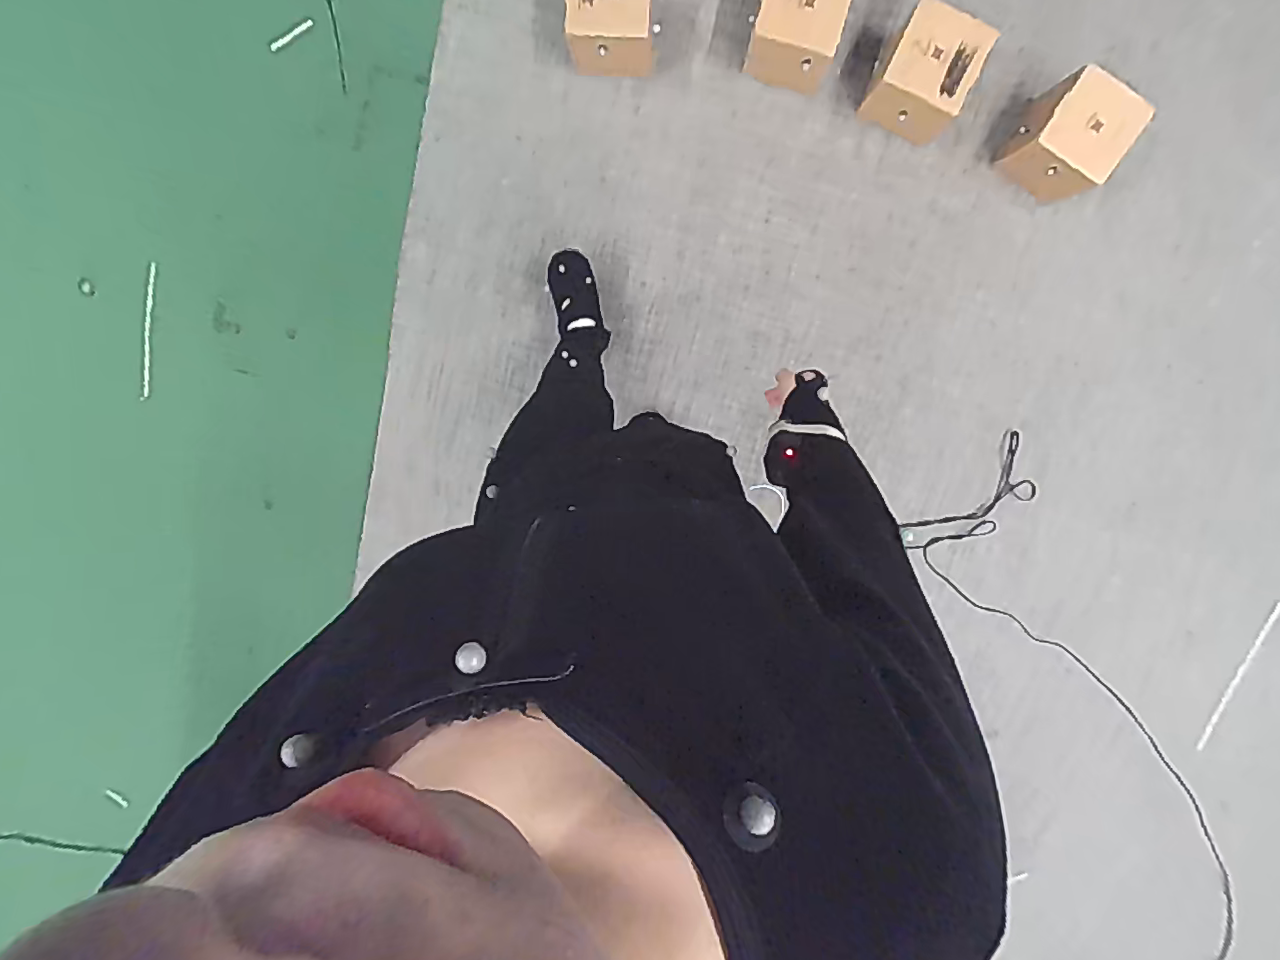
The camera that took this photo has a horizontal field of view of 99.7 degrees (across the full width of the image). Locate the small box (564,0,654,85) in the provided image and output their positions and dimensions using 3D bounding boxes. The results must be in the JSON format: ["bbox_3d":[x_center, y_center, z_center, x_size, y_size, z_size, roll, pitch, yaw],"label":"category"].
[{"bbox_3d":[-0.062,-0.996,1.181,0.179,0.176,0.168,4,103,1],"label":"small box"}]

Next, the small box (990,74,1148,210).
[{"bbox_3d":[0.930,-0.729,1.193,0.179,0.176,0.168,31,103,-5],"label":"small box"}]

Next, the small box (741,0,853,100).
[{"bbox_3d":[0.334,-0.962,1.168,0.179,0.176,0.168,16,102,-1],"label":"small box"}]
